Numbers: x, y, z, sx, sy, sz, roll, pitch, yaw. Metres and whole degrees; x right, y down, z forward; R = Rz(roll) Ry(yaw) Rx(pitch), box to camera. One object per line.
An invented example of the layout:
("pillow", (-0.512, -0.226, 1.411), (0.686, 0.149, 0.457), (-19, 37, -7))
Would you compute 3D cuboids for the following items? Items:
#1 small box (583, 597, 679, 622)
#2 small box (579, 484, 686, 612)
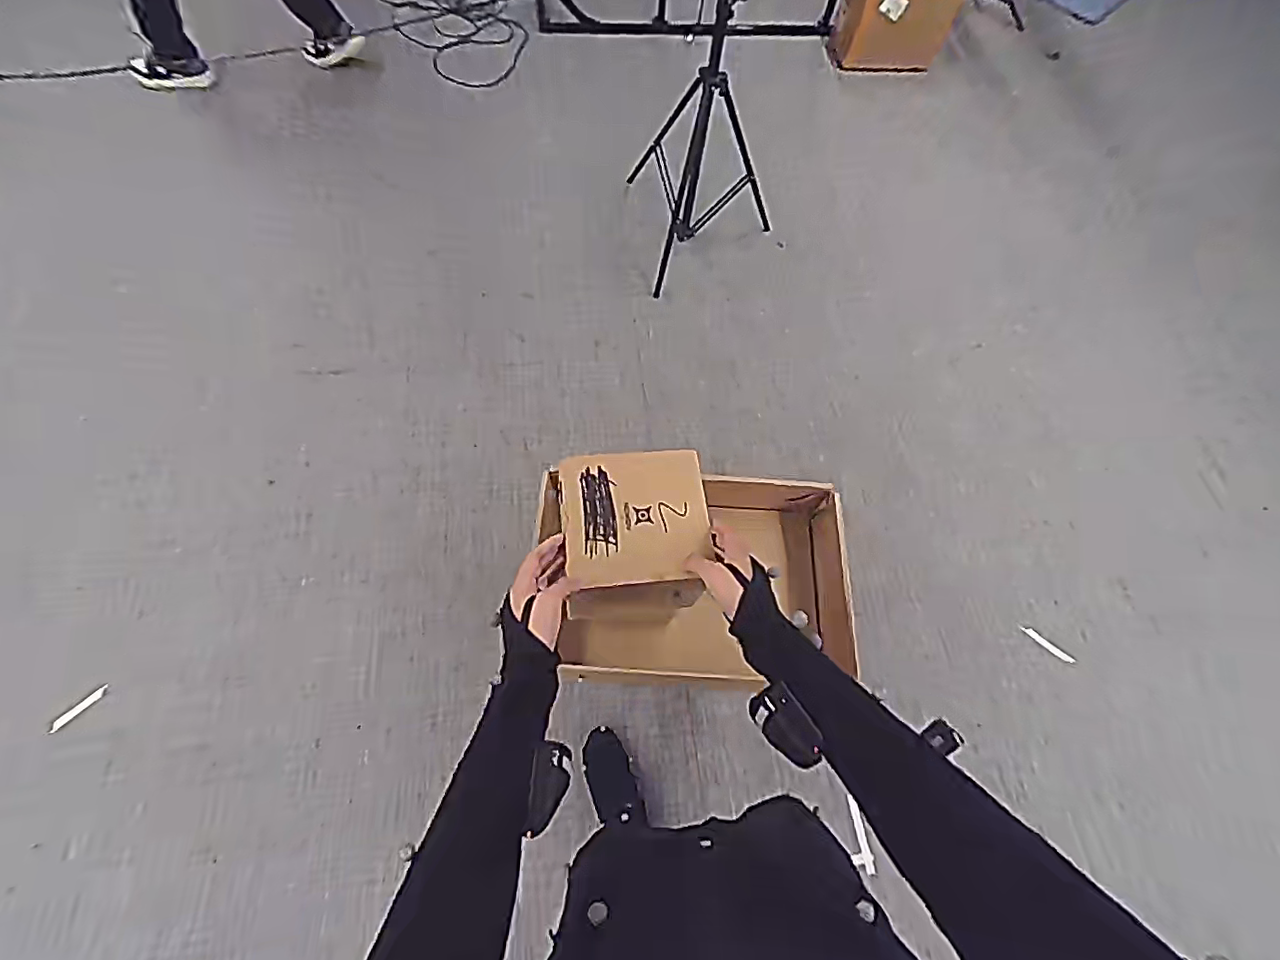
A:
("small box", (-0.022, 0.187, 1.075), (0.179, 0.176, 0.168), (1, 67, -5))
("small box", (-0.020, 0.120, 0.925), (0.168, 0.176, 0.179), (-1, 66, -4))
